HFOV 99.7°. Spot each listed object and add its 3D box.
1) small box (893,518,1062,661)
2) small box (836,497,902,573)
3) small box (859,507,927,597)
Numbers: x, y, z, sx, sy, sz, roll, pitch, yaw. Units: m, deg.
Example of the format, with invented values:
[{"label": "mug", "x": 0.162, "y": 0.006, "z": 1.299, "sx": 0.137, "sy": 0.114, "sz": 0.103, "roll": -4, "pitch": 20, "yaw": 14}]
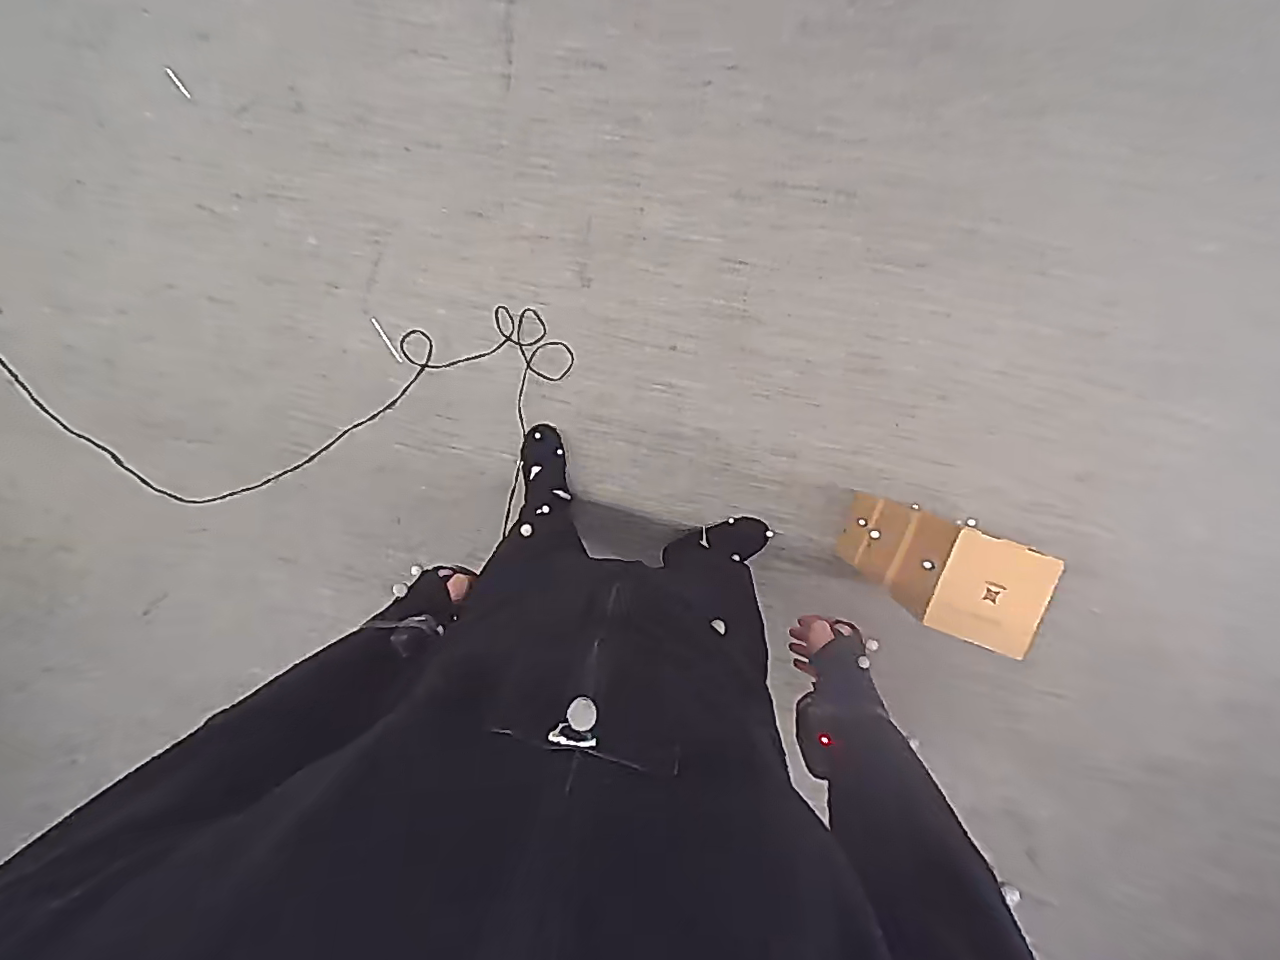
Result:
[{"label": "small box", "x": 0.572, "y": 0.177, "z": 0.945, "sx": 0.168, "sy": 0.176, "sz": 0.179, "roll": 19, "pitch": 97, "yaw": 6}, {"label": "small box", "x": 0.590, "y": 0.147, "z": 1.270, "sx": 0.179, "sy": 0.176, "sz": 0.168, "roll": 20, "pitch": 96, "yaw": 4}, {"label": "small box", "x": 0.581, "y": 0.164, "z": 1.106, "sx": 0.179, "sy": 0.176, "sz": 0.168, "roll": 21, "pitch": 96, "yaw": 5}]
